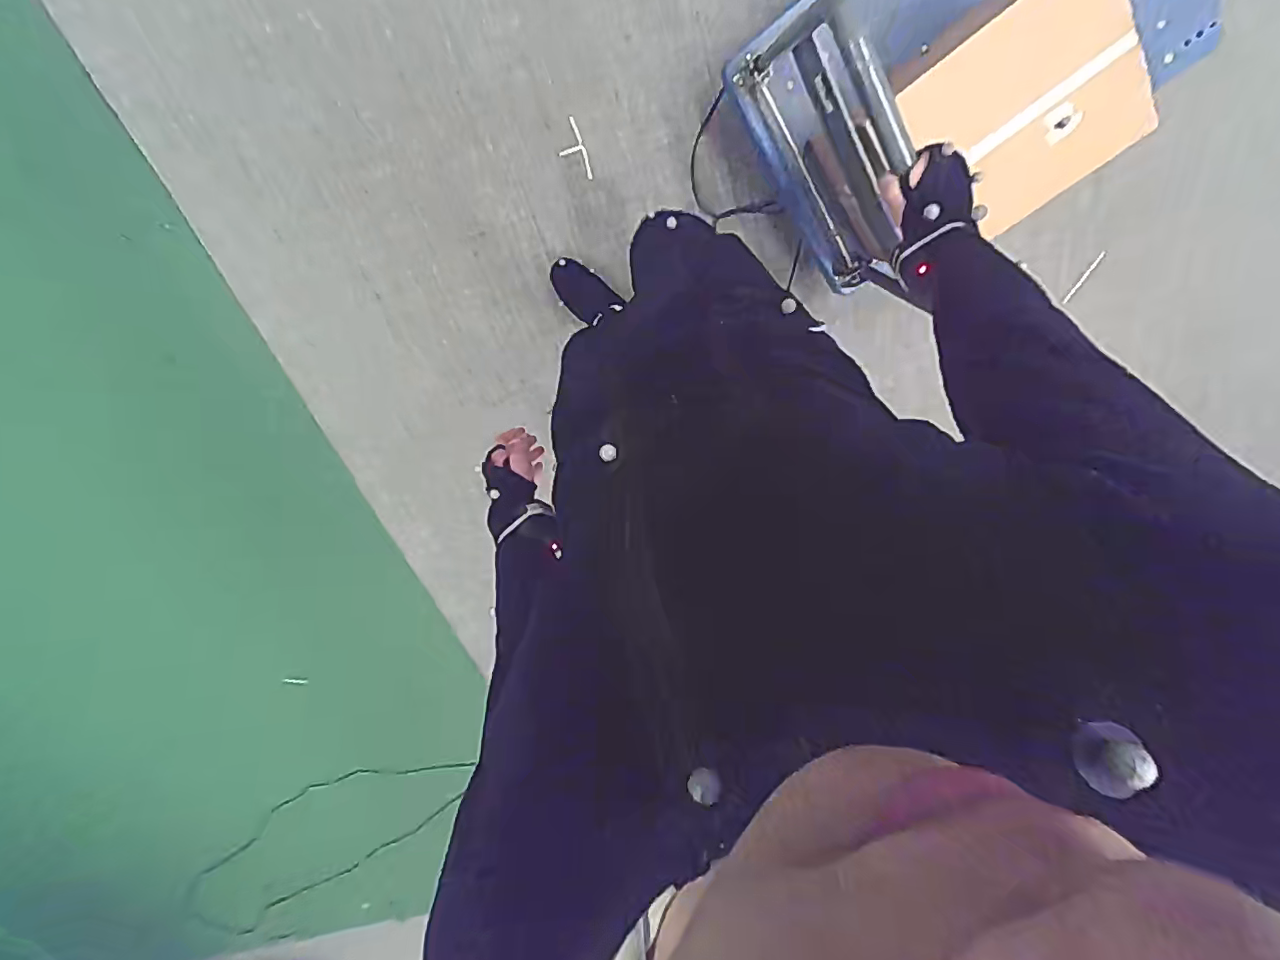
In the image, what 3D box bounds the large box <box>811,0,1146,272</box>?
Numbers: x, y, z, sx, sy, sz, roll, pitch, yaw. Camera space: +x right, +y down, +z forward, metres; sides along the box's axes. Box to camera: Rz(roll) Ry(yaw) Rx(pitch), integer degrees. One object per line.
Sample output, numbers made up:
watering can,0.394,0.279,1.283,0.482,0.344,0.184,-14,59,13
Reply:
large box,0.618,-0.674,1.054,0.408,0.320,0.320,-34,114,14
